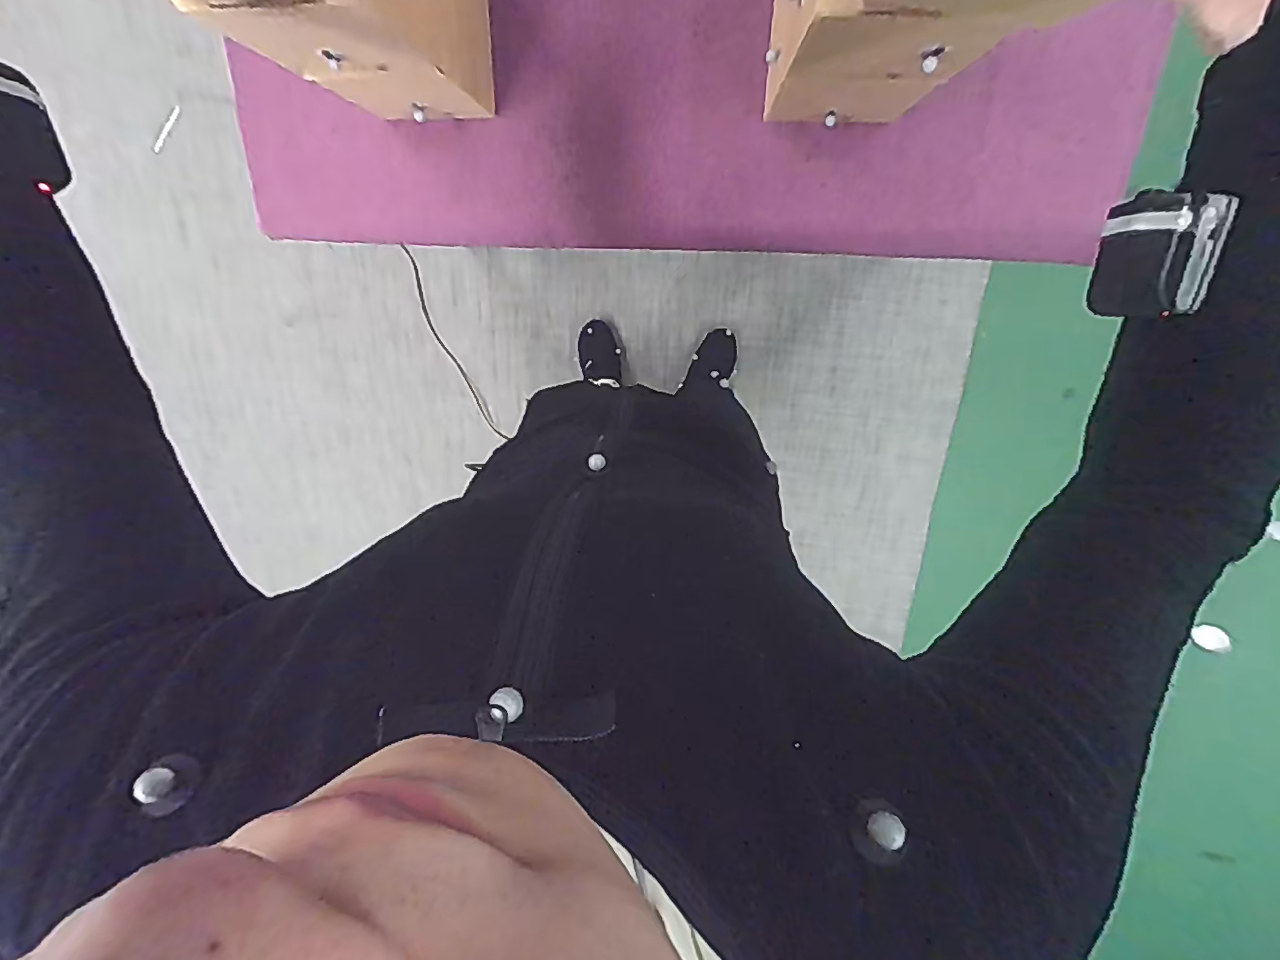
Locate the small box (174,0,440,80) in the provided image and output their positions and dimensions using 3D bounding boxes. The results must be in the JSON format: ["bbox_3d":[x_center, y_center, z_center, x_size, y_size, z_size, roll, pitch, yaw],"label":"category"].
[{"bbox_3d":[-0.304,-0.501,0.496,0.168,0.176,0.179,1,111,5],"label":"small box"}]

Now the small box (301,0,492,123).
[{"bbox_3d":[-0.289,-0.555,0.649,0.168,0.176,0.179,3,110,5],"label":"small box"}]

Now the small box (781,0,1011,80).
[{"bbox_3d":[0.218,-0.462,0.454,0.168,0.176,0.179,3,110,5],"label":"small box"}]

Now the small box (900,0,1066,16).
[{"bbox_3d":[0.231,-0.389,0.290,0.179,0.176,0.168,2,112,-7],"label":"small box"}]
